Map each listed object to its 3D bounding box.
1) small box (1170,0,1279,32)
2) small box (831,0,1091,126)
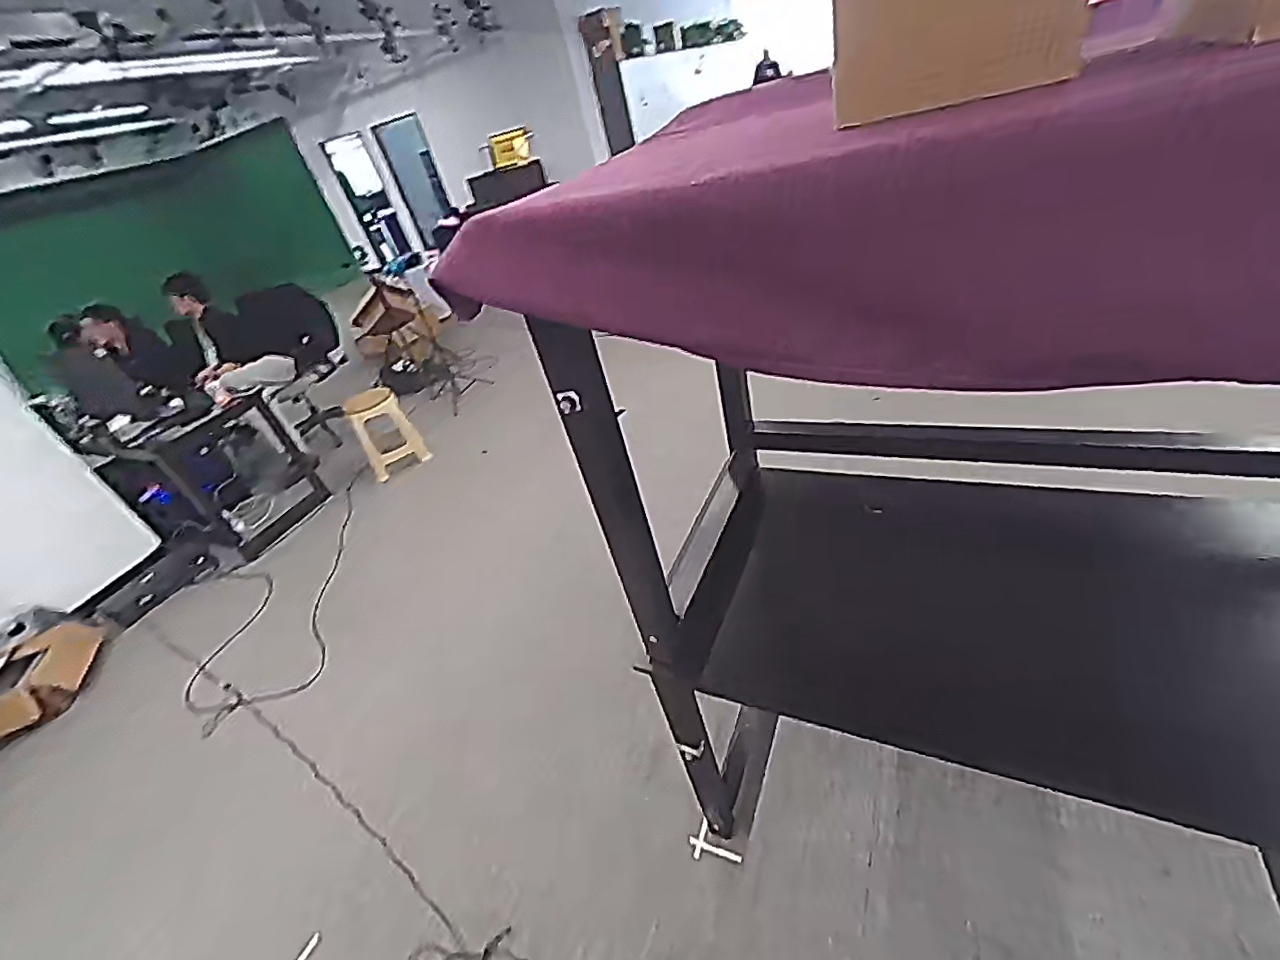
[{"bbox_3d":[0.471,-0.393,0.320,0.168,0.176,0.179,1,37,24],"label":"small box"},{"bbox_3d":[0.259,-0.415,0.440,0.179,0.176,0.168,4,39,28],"label":"small box"}]
